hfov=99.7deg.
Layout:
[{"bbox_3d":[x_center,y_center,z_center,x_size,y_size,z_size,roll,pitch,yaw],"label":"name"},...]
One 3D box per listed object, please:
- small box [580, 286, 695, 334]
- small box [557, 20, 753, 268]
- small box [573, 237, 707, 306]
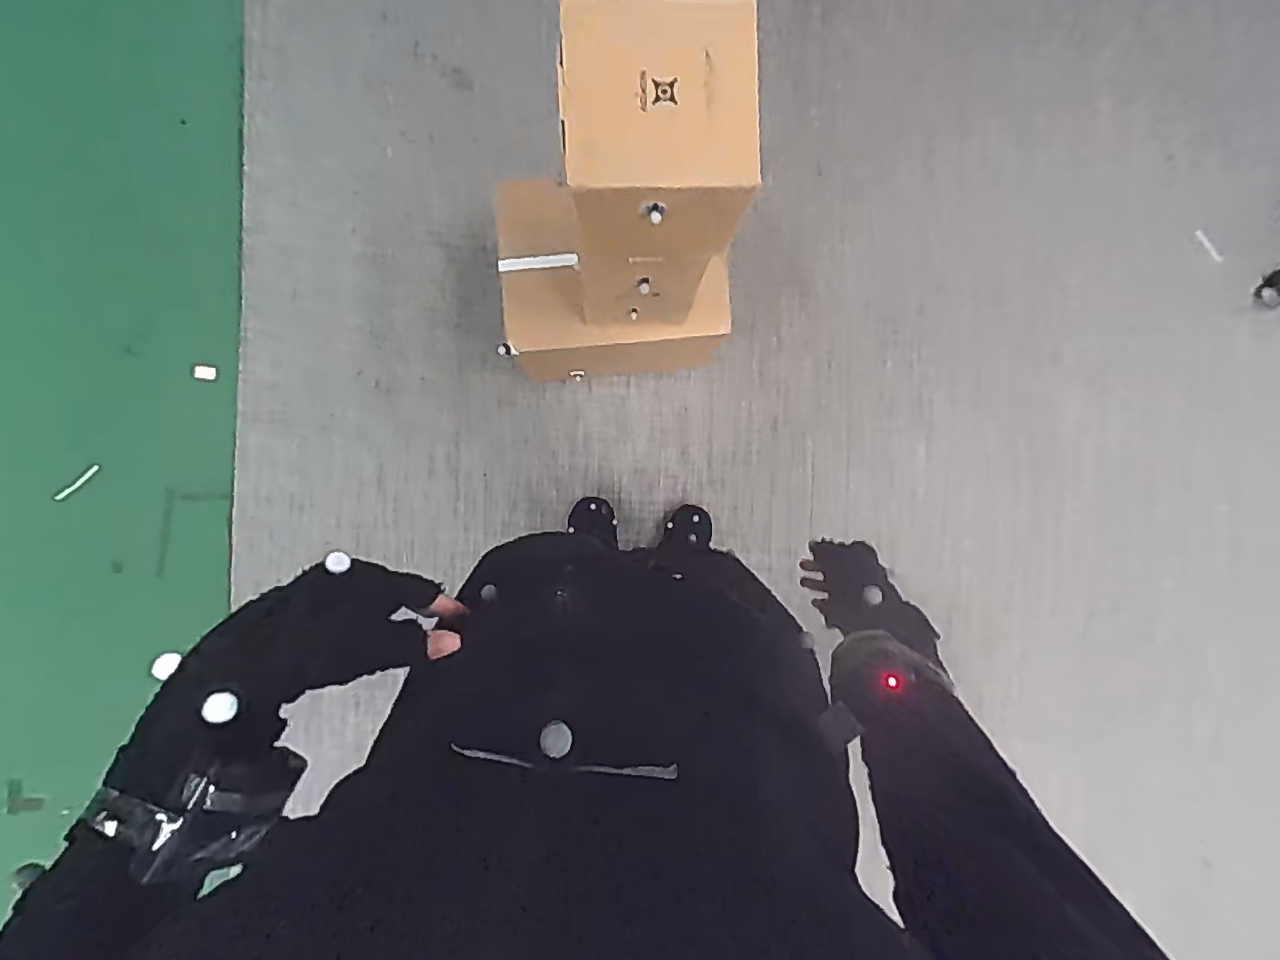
[{"bbox_3d":[-0.007,-0.344,0.895,0.179,0.176,0.168,-1,91,-1],"label":"small box"},{"bbox_3d":[0.012,-0.334,0.570,0.179,0.176,0.168,-2,92,-3],"label":"small box"},{"bbox_3d":[-0.003,-0.343,0.732,0.168,0.176,0.179,-3,91,-2],"label":"small box"}]
